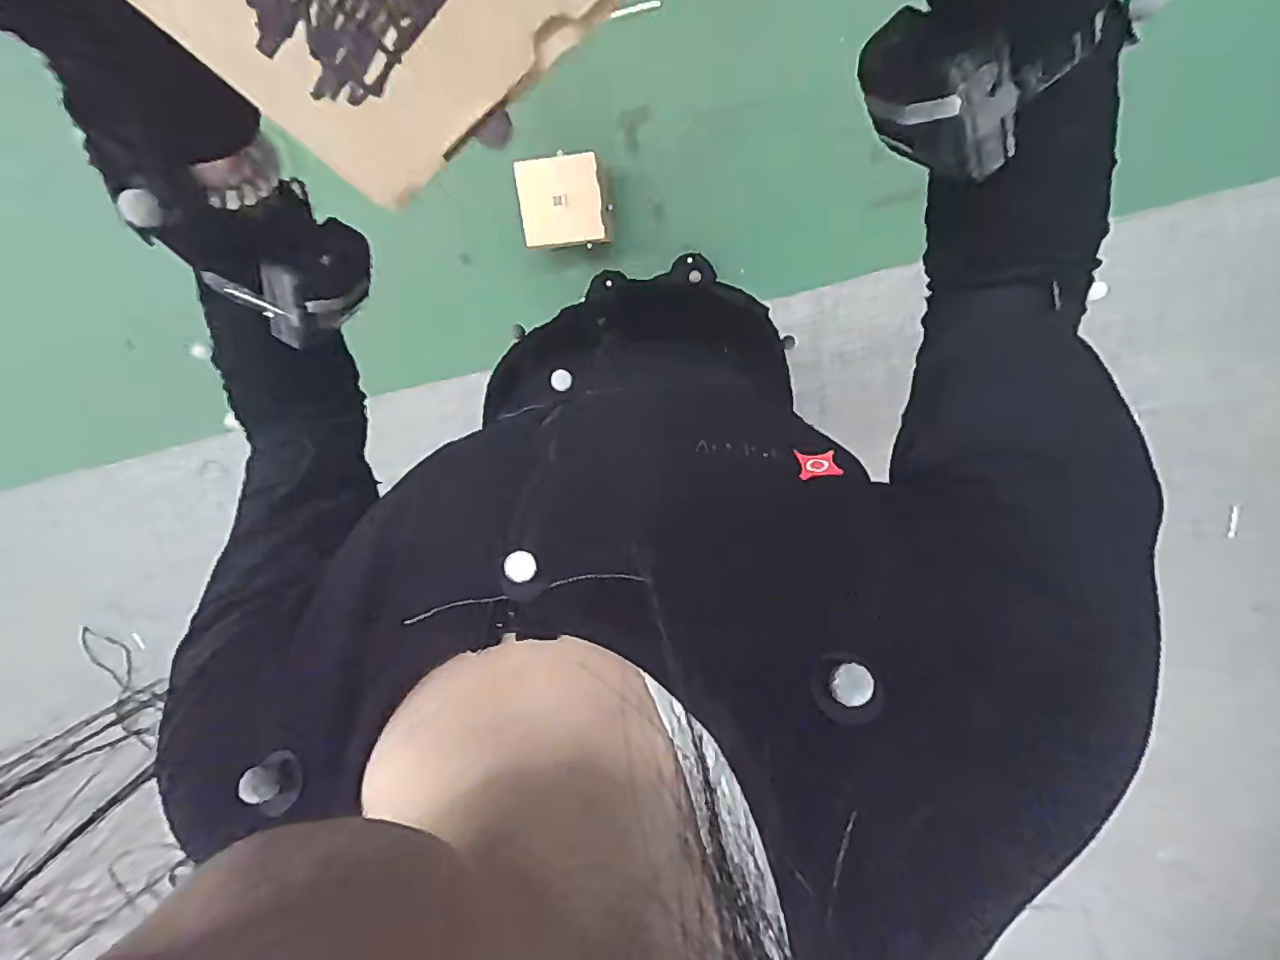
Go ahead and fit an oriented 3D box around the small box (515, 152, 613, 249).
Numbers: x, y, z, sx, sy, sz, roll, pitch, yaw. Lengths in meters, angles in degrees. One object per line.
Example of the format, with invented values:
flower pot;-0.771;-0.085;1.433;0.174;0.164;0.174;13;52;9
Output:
small box;-0.163;-0.620;1.217;0.179;0.176;0.168;-5;112;5
